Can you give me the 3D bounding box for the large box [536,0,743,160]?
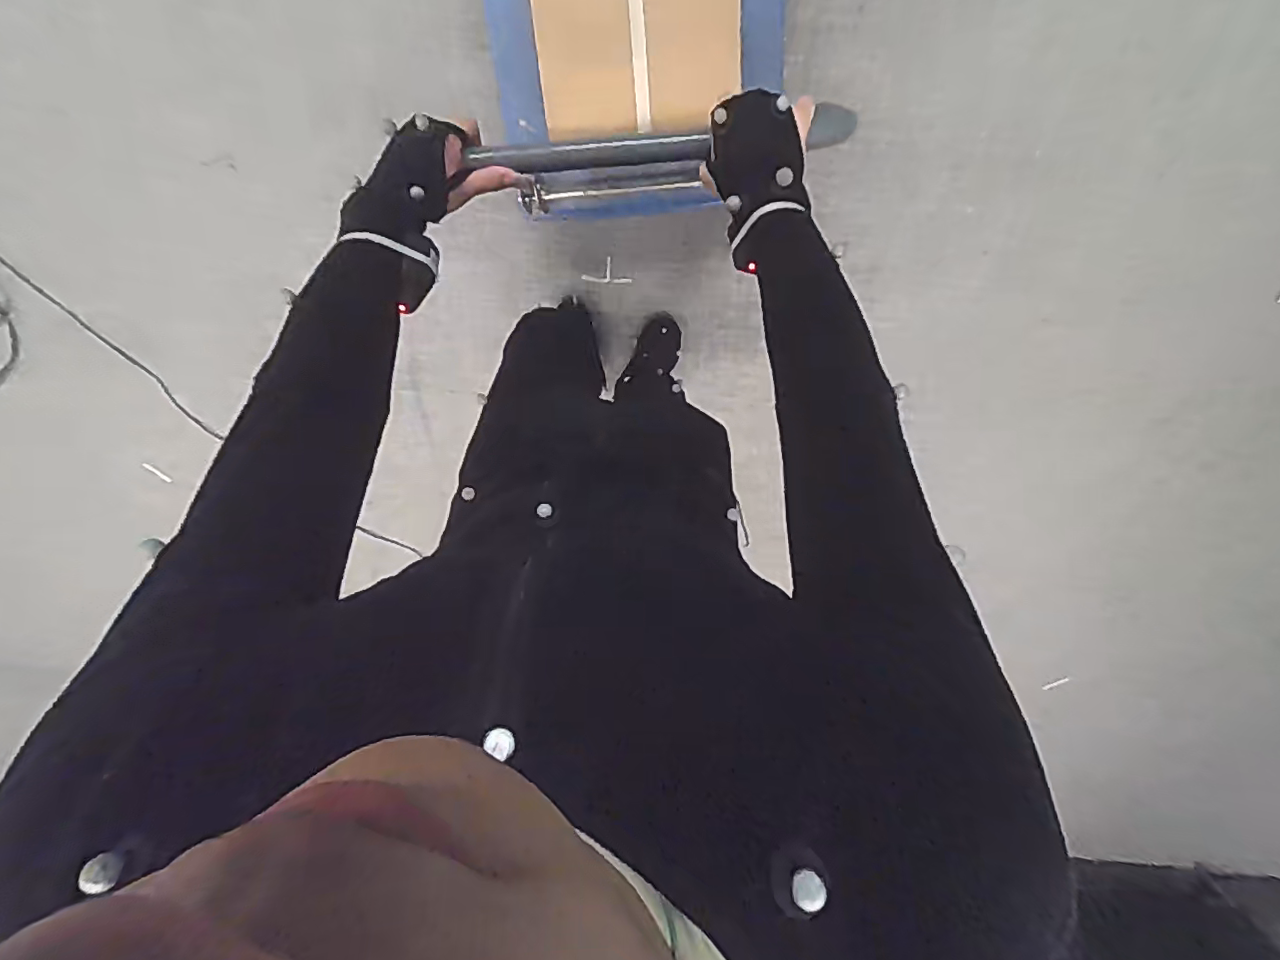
[{"bbox_3d":[0.003,-0.812,0.931,0.320,0.320,0.408,-3,115,5],"label":"large box"}]
